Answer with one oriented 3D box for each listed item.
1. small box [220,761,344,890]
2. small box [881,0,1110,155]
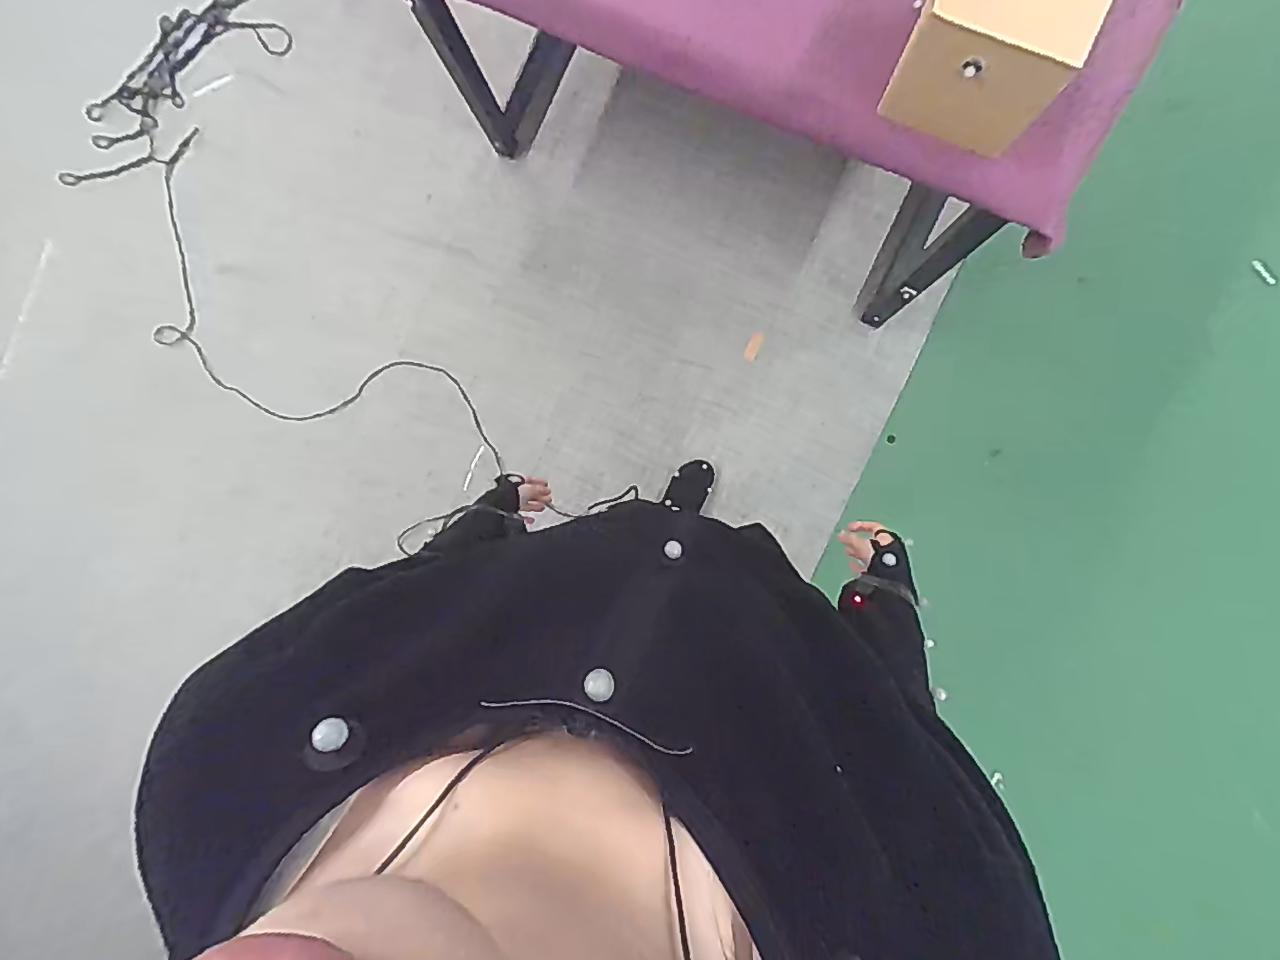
[{"bbox_3d":[-0.847,0.817,1.296,0.168,0.176,0.179,14,91,4],"label":"small box"},{"bbox_3d":[0.432,-0.545,0.668,0.179,0.176,0.168,24,92,4],"label":"small box"}]
